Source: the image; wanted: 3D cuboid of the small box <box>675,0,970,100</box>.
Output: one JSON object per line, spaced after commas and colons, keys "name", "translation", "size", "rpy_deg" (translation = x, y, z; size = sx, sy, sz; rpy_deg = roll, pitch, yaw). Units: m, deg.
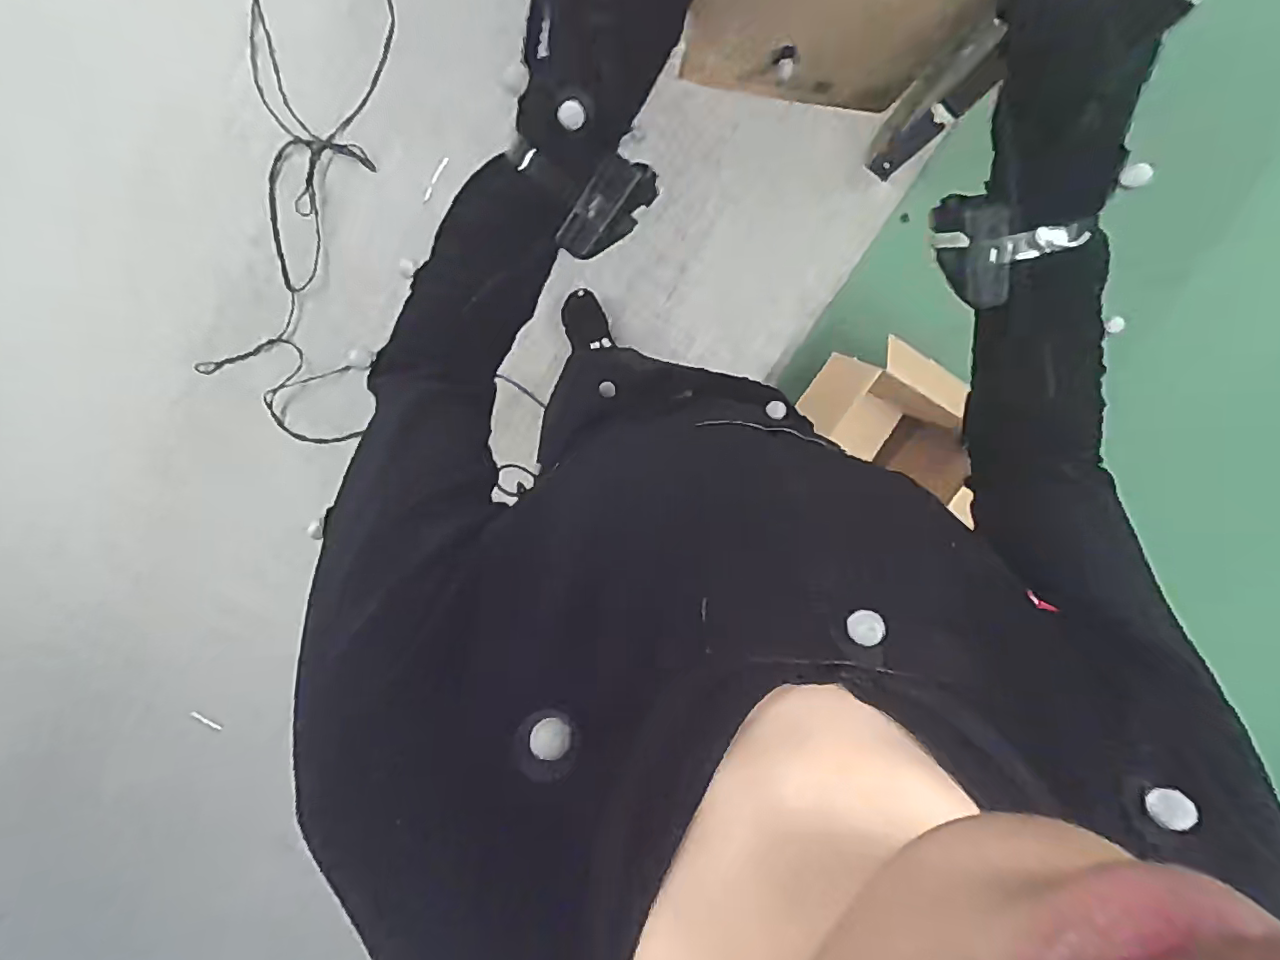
{"name": "small box", "translation": [0.113, -0.369, 0.321], "size": [0.168, 0.176, 0.179], "rpy_deg": [4, 103, -2]}
